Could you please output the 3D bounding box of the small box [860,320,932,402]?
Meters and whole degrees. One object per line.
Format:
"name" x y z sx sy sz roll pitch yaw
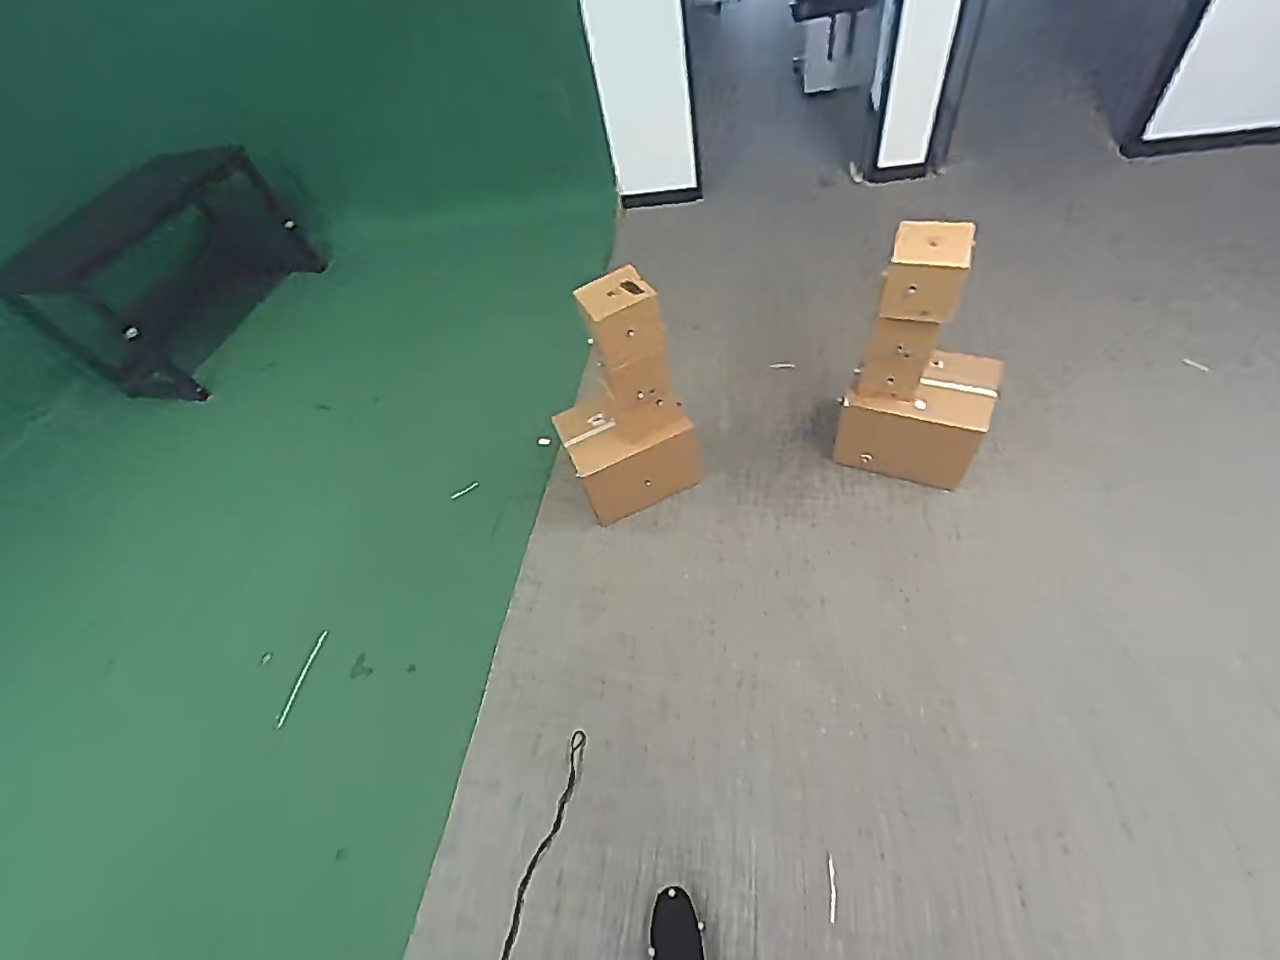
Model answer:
"small box" 0.773 -0.359 1.642 0.168 0.176 0.179 11 58 18

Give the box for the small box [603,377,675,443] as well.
"small box" 0.003 -0.252 1.727 0.179 0.176 0.168 -26 53 -7

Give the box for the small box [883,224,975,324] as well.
"small box" 0.719 -0.514 1.357 0.168 0.176 0.179 13 58 20

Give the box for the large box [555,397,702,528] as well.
"large box" -0.033 -0.098 1.932 0.408 0.320 0.320 -26 52 -6

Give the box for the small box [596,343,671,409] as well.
"small box" -0.020 -0.343 1.594 0.168 0.176 0.179 -25 54 -5

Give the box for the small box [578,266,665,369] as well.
"small box" -0.044 -0.436 1.462 0.179 0.176 0.168 -27 53 -6
